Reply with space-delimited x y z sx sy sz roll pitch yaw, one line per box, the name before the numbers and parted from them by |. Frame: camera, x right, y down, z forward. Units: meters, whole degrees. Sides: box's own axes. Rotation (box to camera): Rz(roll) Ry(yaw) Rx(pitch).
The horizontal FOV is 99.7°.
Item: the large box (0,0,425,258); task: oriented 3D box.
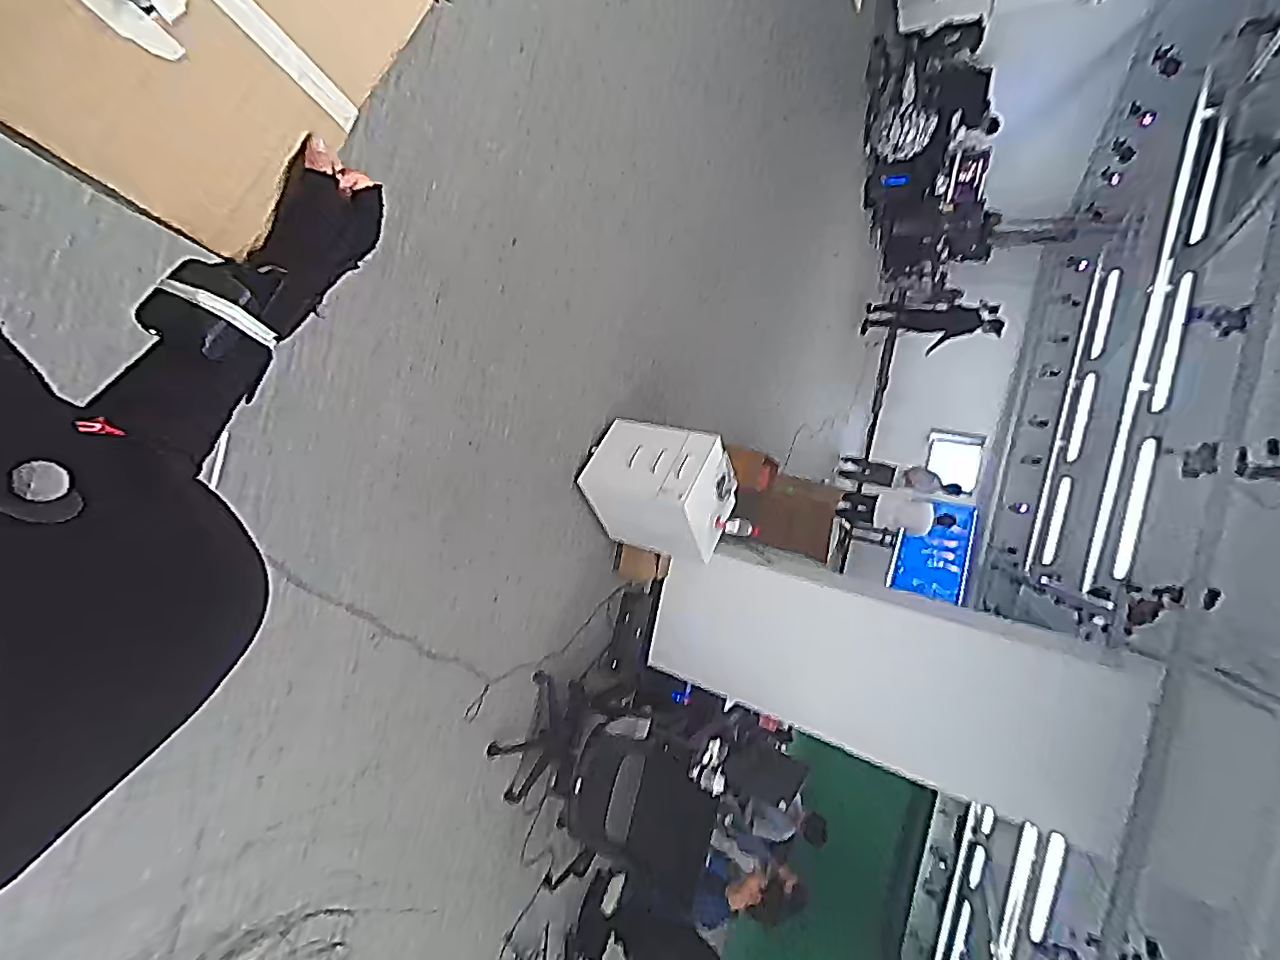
large box | -0.449 -0.435 0.372 0.320 0.320 0.408 -59 152 -3
